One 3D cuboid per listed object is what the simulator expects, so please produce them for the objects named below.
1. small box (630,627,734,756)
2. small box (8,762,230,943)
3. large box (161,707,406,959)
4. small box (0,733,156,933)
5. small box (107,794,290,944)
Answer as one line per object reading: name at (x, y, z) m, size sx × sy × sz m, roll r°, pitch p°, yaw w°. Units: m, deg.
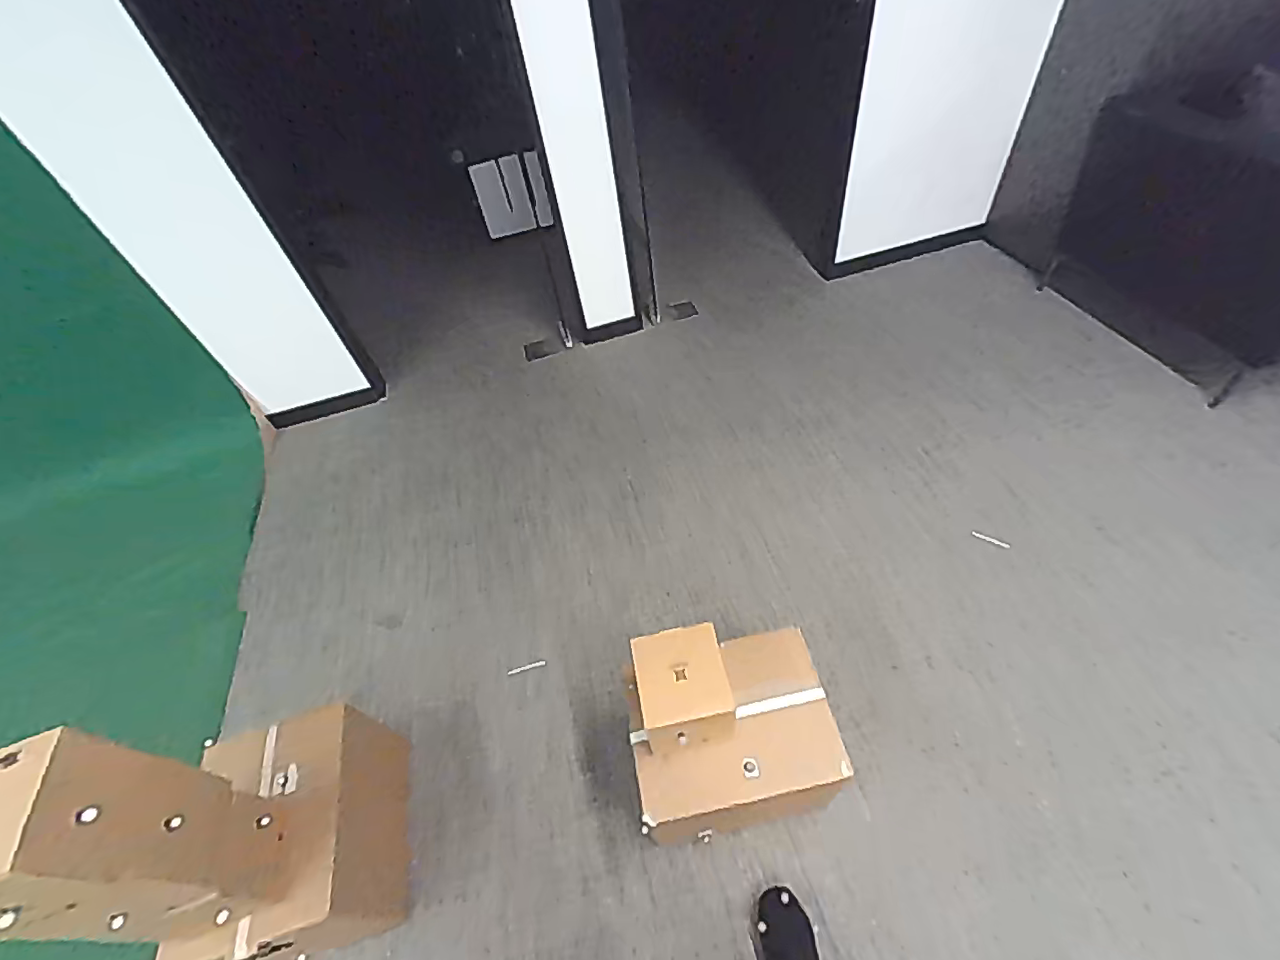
small box at (0.083, 0.418, 1.052) m, size 0.168 × 0.176 × 0.179 m, roll -12°, pitch 46°, yaw -1°
small box at (-0.783, 0.578, 0.841) m, size 0.168 × 0.176 × 0.179 m, roll -21°, pitch 48°, yaw -9°
large box at (-0.734, 0.792, 1.190) m, size 0.320 × 0.320 × 0.408 m, roll -17°, pitch 48°, yaw -5°
small box at (-0.802, 0.472, 0.717) m, size 0.168 × 0.176 × 0.179 m, roll -19°, pitch 49°, yaw -7°
small box at (-0.761, 0.689, 0.960) m, size 0.179 × 0.176 × 0.168 m, roll -19°, pitch 49°, yaw -5°
